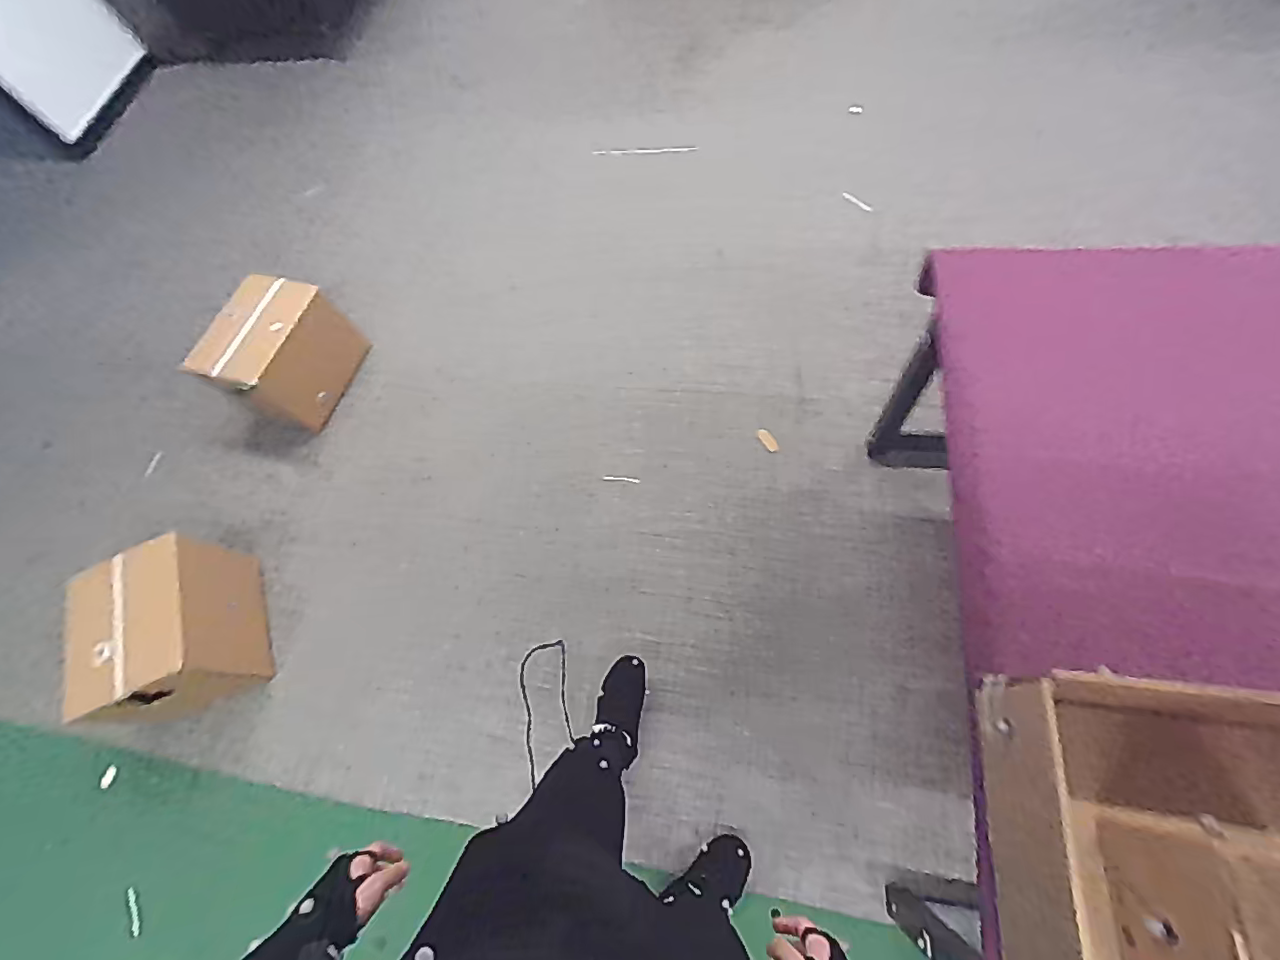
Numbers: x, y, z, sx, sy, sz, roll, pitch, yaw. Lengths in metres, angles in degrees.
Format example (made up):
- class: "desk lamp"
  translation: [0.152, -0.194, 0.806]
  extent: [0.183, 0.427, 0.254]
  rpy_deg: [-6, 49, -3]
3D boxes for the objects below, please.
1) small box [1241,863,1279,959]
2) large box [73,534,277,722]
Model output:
- class: "small box"
  translation: [0.549, 0.361, 0.336]
  extent: [0.179, 0.176, 0.168]
  rpy_deg: [5, 65, 9]
- class: "large box"
  translation: [-1.315, 0.427, 1.545]
  extent: [0.320, 0.320, 0.408]
  rpy_deg: [-25, 66, -2]
